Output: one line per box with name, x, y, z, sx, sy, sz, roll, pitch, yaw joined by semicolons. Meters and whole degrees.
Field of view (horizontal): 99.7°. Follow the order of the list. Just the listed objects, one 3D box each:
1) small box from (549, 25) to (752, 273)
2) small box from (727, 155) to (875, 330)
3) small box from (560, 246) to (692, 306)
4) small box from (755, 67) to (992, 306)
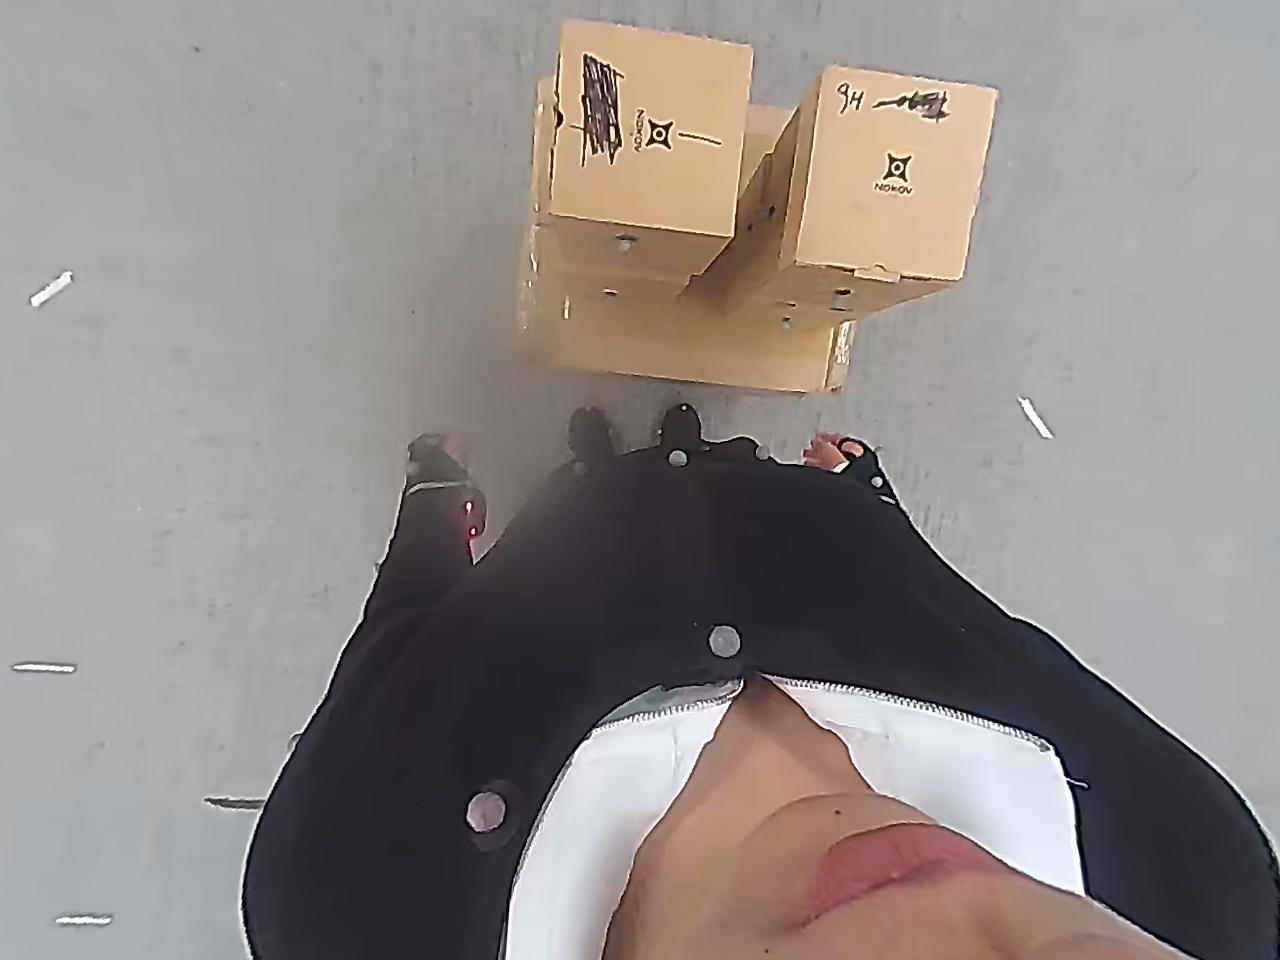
small box;0.004;-0.328;0.574;0.179;0.176;0.168;4;98;-5
small box;0.222;-0.315;0.751;0.168;0.176;0.179;5;98;-2
small box;-0.015;-0.347;0.736;0.168;0.176;0.179;4;99;-3
small box;0.232;-0.295;0.586;0.168;0.176;0.179;6;99;-4
